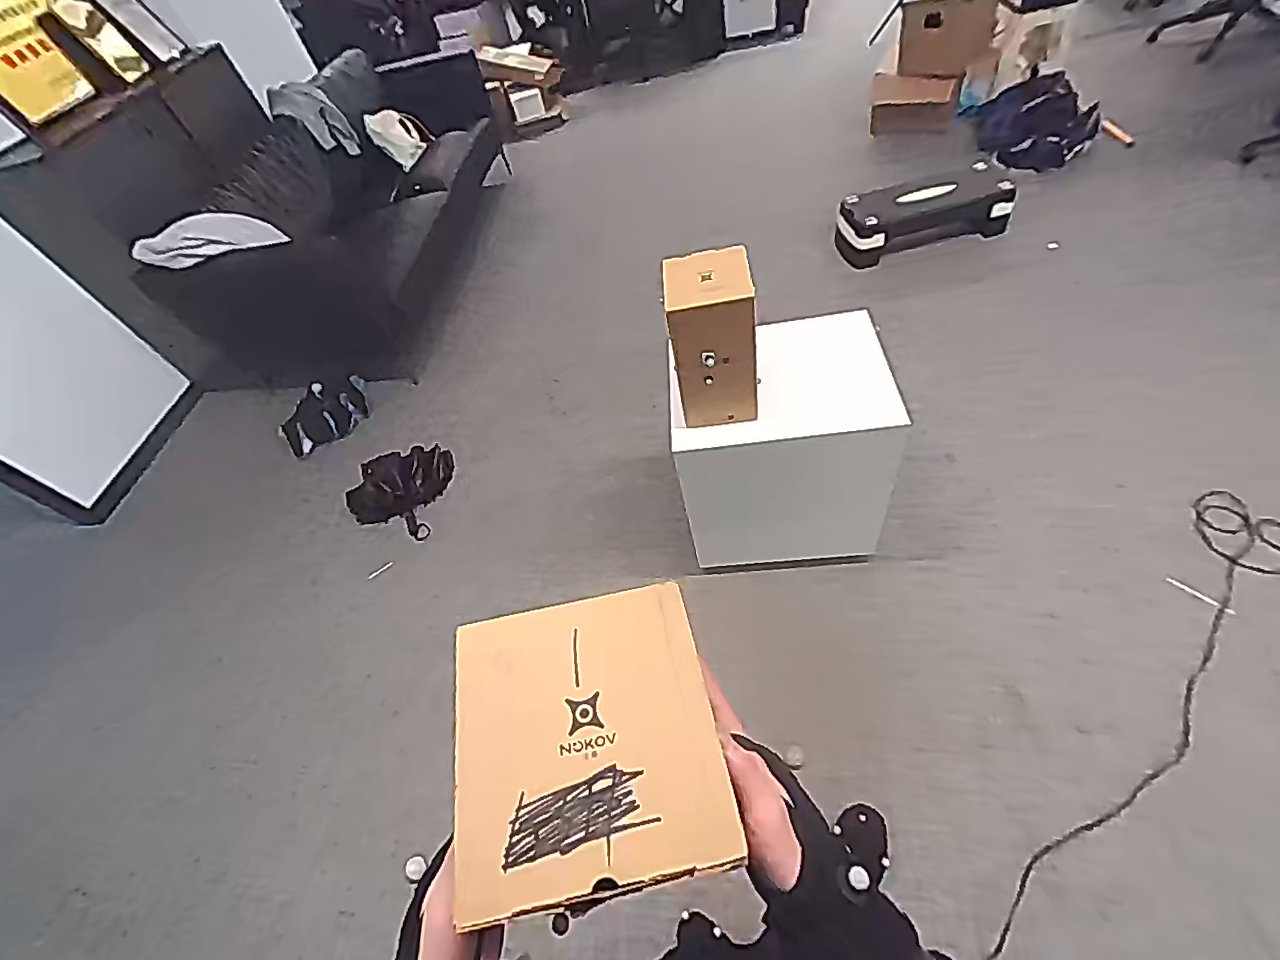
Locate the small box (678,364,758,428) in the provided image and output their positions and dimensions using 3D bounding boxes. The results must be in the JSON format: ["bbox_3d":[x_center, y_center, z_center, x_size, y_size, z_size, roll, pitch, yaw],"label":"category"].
[{"bbox_3d":[0.175,-0.241,1.221,0.168,0.176,0.179,-6,51,10],"label":"small box"}]

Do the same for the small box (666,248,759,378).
[{"bbox_3d":[0.146,-0.333,1.090,0.168,0.176,0.179,-8,53,10],"label":"small box"}]
